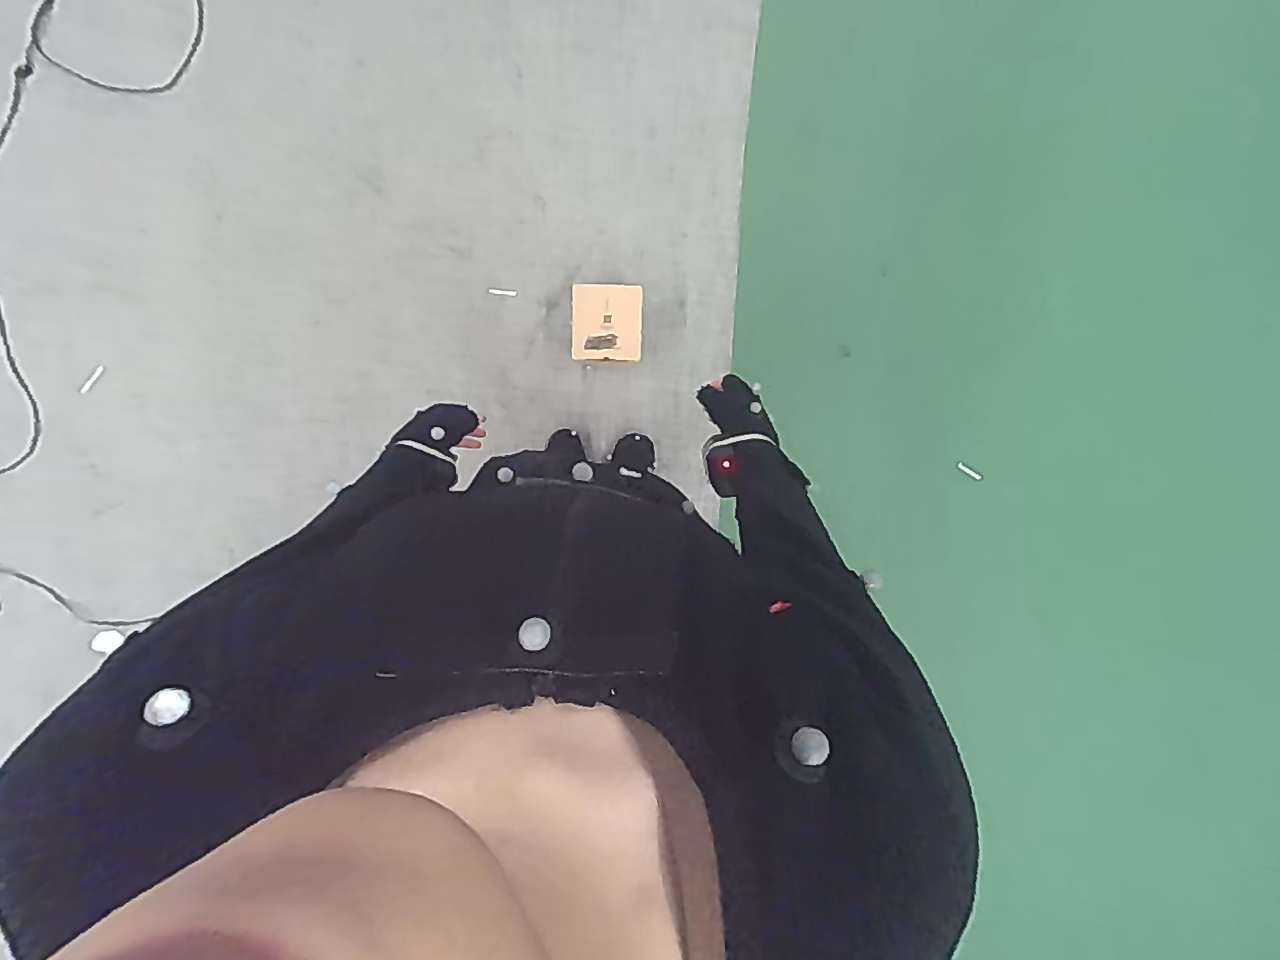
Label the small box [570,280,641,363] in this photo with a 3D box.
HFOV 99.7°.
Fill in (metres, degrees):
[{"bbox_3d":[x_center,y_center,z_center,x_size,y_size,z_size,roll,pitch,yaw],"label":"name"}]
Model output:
[{"bbox_3d":[-0.082,-0.386,1.345,0.168,0.176,0.179,2,98,-2],"label":"small box"}]
